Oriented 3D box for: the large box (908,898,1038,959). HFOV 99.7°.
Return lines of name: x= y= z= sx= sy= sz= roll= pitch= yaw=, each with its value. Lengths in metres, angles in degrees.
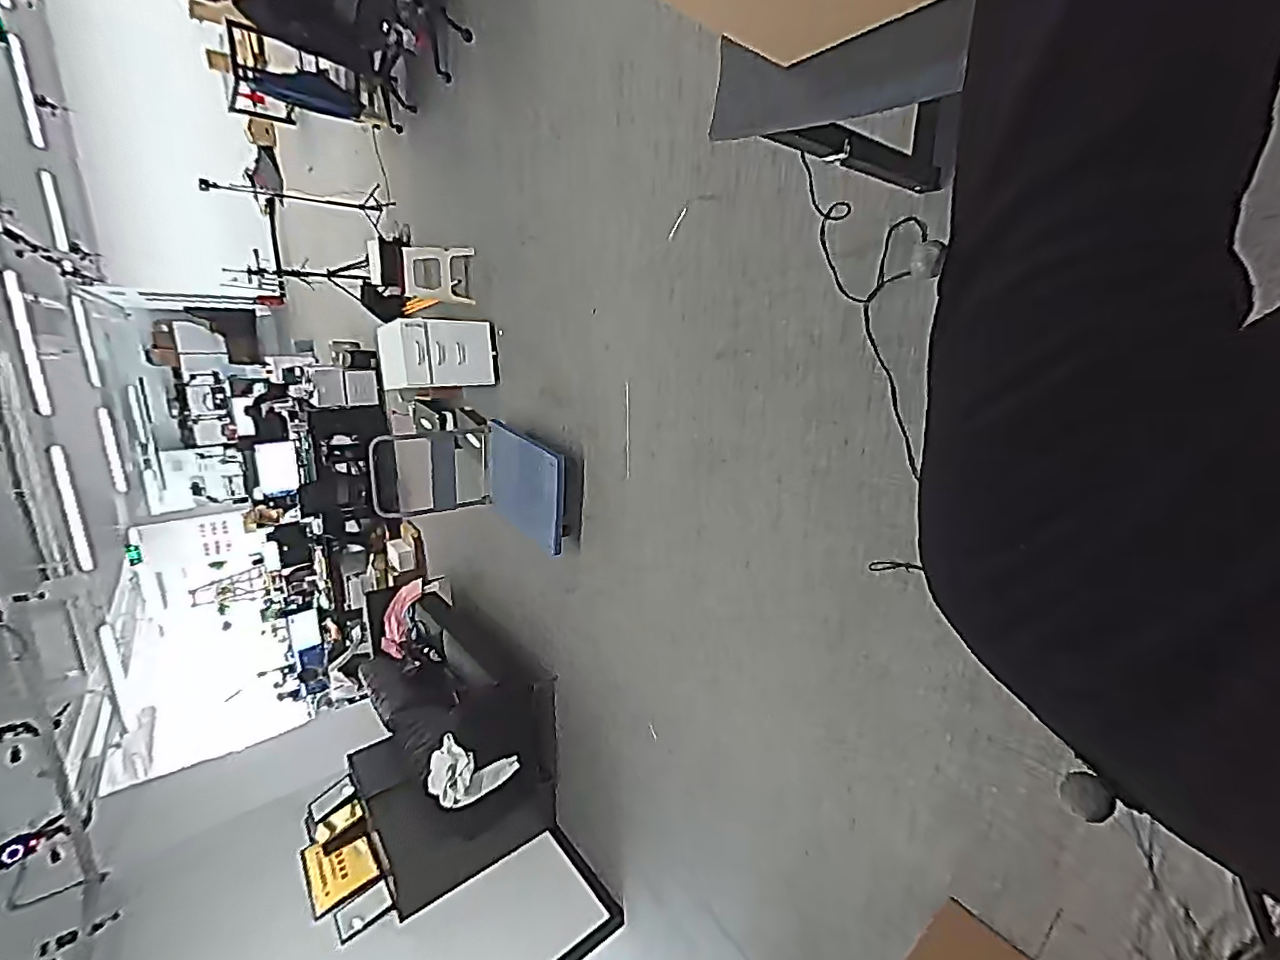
large box: x=0.956 y=1.476 z=1.452 sx=0.408 sy=0.320 sz=0.320 roll=18 pitch=113 yaw=47
